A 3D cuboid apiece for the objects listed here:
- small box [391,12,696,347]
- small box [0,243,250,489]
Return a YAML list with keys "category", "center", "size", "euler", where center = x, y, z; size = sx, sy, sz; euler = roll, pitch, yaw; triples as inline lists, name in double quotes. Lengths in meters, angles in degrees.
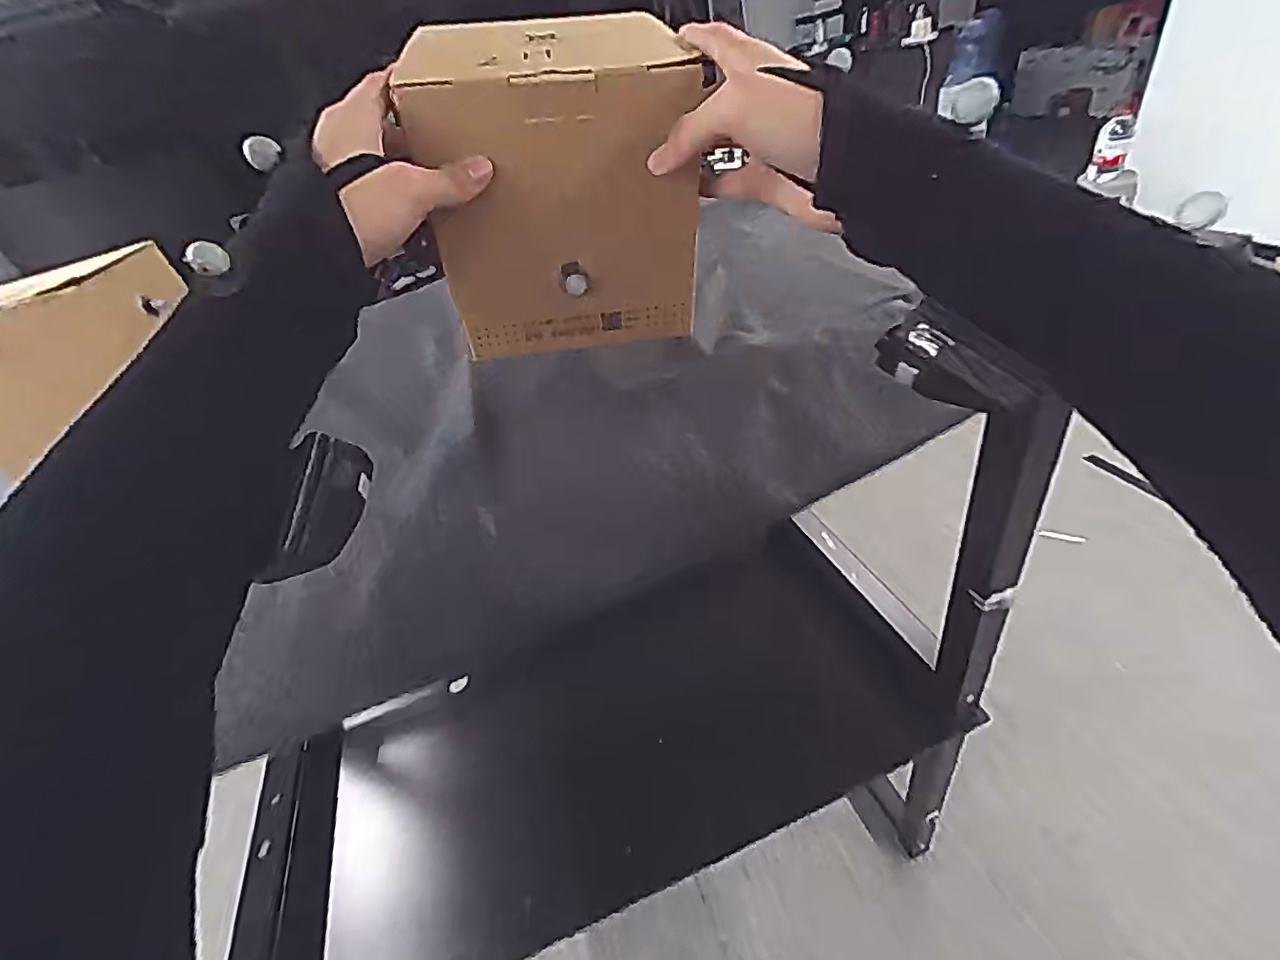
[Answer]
- category: "small box"
  center: [-0.062, -0.222, 0.401]
  size: [0.168, 0.176, 0.179]
  euler: [-9, 48, -6]
- category: "small box"
  center: [-0.537, -0.111, 0.542]
  size: [0.168, 0.176, 0.179]
  euler: [-22, 38, -7]
